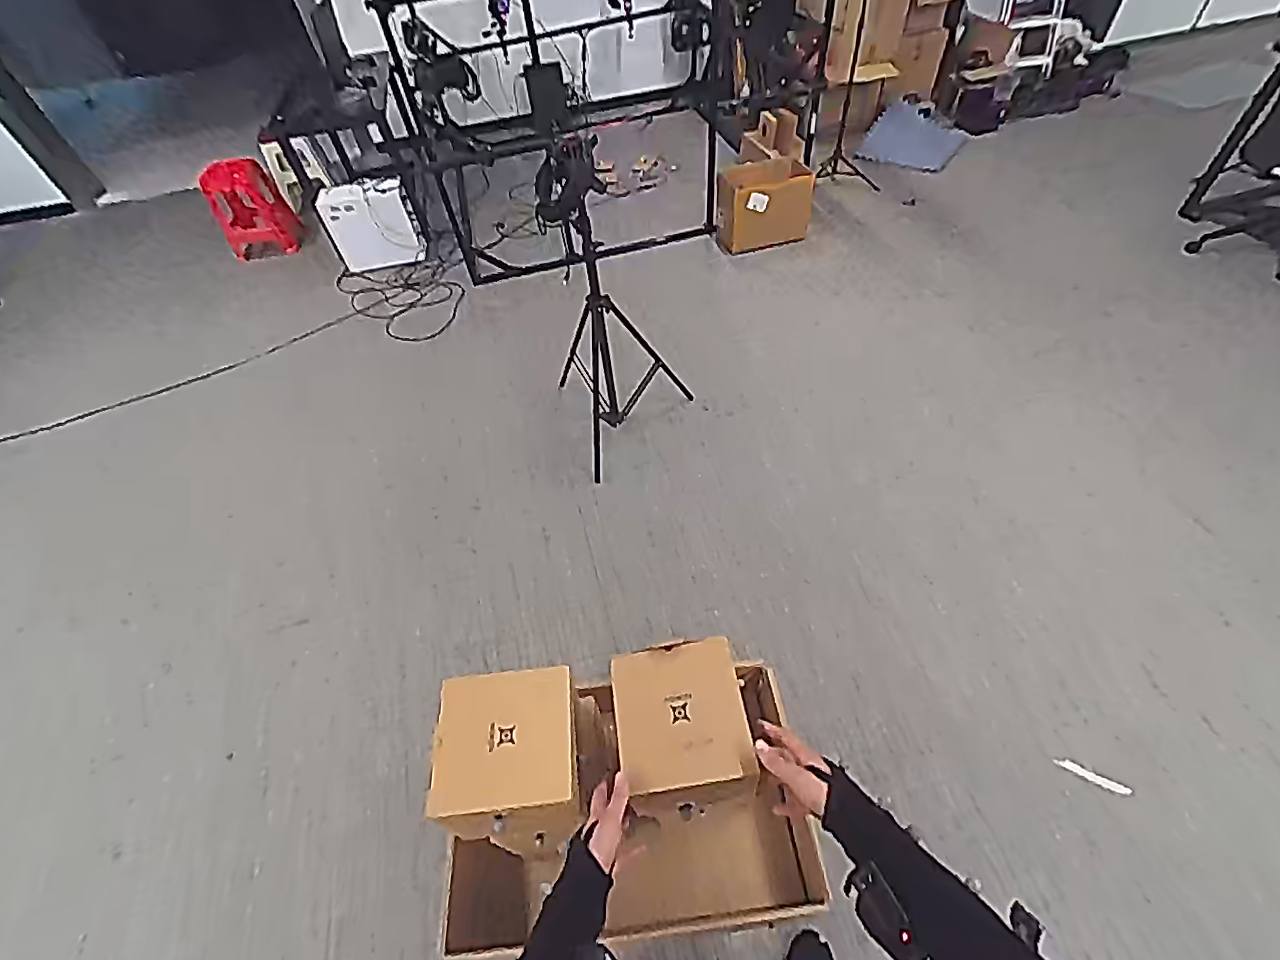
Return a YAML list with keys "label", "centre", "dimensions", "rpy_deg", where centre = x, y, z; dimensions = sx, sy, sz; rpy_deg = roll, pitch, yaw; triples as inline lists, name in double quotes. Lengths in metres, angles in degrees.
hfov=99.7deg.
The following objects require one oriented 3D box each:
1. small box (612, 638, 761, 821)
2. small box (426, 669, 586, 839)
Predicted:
- label: "small box"
  centre: [0.059, 0.345, 0.745]
  dimensions: [0.168, 0.176, 0.179]
  rpy_deg: [-10, 50, 0]
- label: "small box"
  centre: [-0.168, 0.378, 0.743]
  dimensions: [0.179, 0.176, 0.168]
  rpy_deg: [-7, 50, -2]
